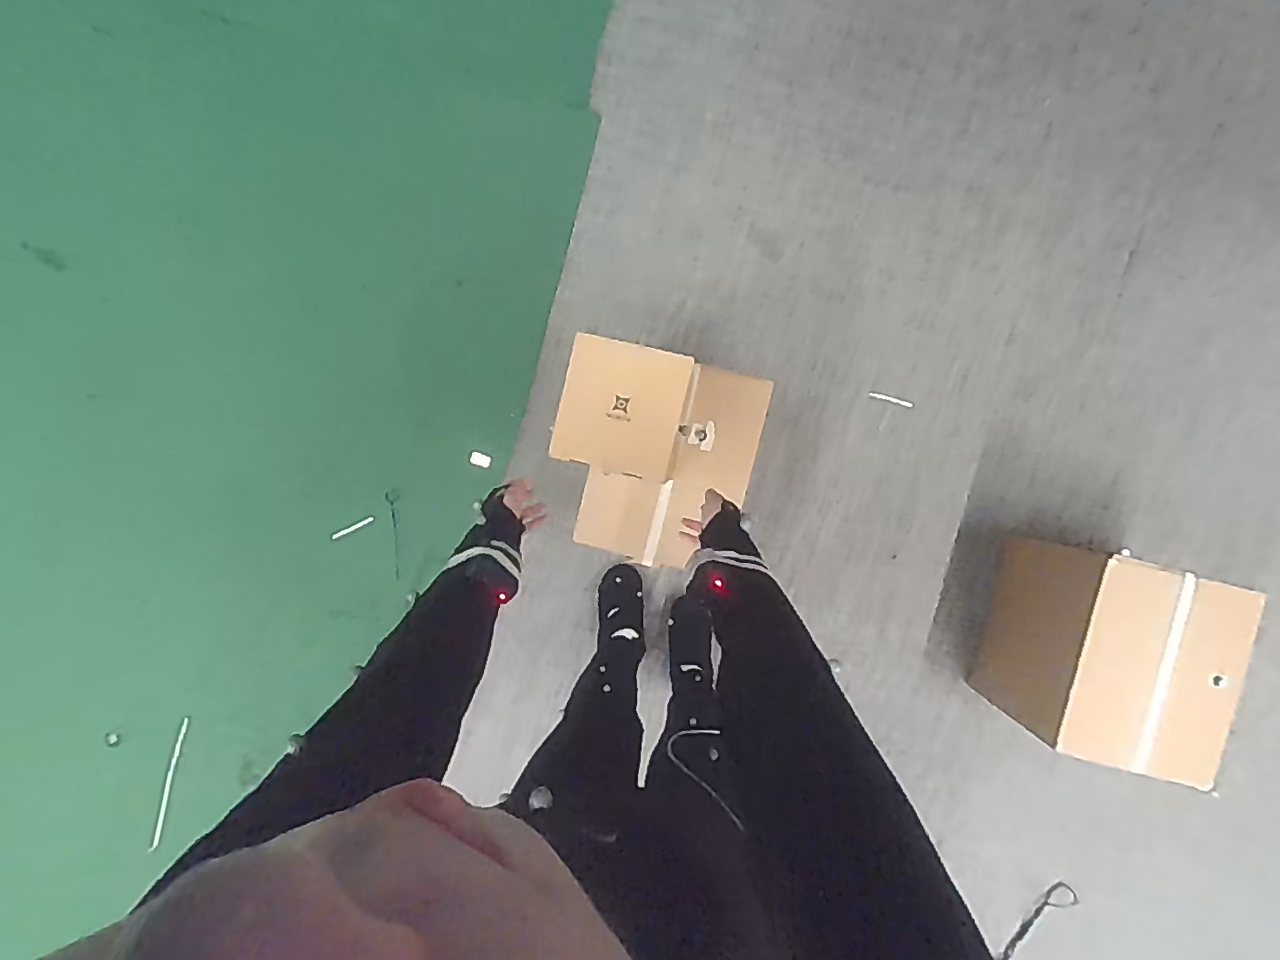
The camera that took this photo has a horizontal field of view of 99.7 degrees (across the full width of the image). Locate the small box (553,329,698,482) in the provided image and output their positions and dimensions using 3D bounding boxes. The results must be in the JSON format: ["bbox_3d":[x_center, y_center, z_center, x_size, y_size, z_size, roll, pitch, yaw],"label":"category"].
[{"bbox_3d":[-0.016,-0.105,0.809,0.168,0.176,0.179,14,95,4],"label":"small box"}]

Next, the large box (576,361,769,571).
[{"bbox_3d":[0.069,-0.046,1.216,0.320,0.320,0.408,14,92,2],"label":"large box"}]
